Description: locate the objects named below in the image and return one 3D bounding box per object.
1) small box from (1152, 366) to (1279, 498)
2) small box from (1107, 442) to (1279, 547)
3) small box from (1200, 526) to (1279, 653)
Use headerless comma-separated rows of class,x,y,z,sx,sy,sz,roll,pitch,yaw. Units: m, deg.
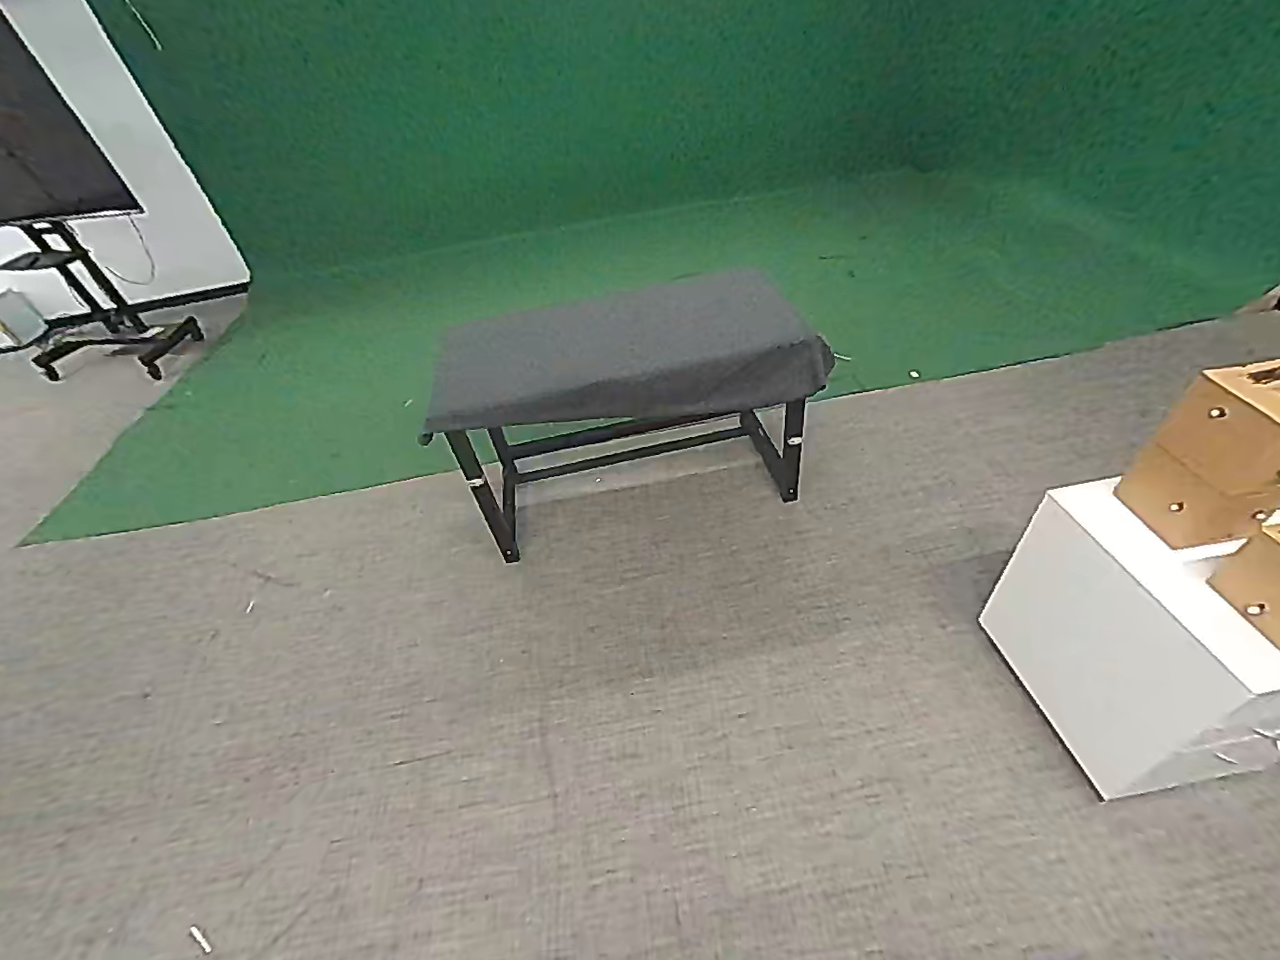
small box,1.147,-0.090,1.022,0.168,0.176,0.179,-8,45,-1
small box,1.157,0.027,1.138,0.168,0.176,0.179,-9,43,-2
small box,1.181,0.194,0.954,0.168,0.176,0.179,-9,43,-1
